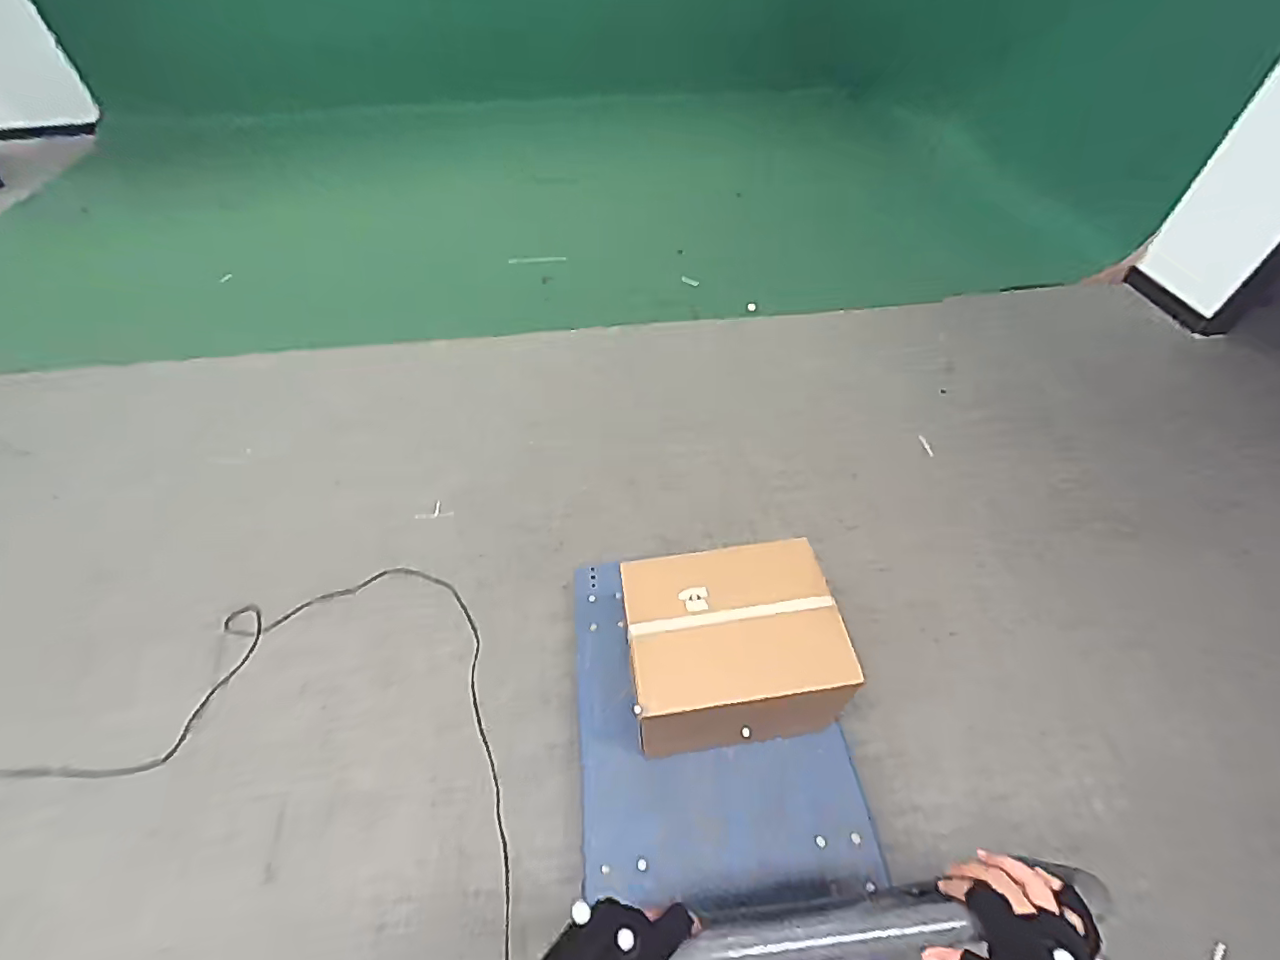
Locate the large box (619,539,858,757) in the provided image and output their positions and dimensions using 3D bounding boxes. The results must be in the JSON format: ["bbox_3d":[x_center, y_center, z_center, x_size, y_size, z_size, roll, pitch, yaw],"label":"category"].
[{"bbox_3d":[0.181,0.363,1.155,0.408,0.320,0.320,-8,50,-3],"label":"large box"}]
